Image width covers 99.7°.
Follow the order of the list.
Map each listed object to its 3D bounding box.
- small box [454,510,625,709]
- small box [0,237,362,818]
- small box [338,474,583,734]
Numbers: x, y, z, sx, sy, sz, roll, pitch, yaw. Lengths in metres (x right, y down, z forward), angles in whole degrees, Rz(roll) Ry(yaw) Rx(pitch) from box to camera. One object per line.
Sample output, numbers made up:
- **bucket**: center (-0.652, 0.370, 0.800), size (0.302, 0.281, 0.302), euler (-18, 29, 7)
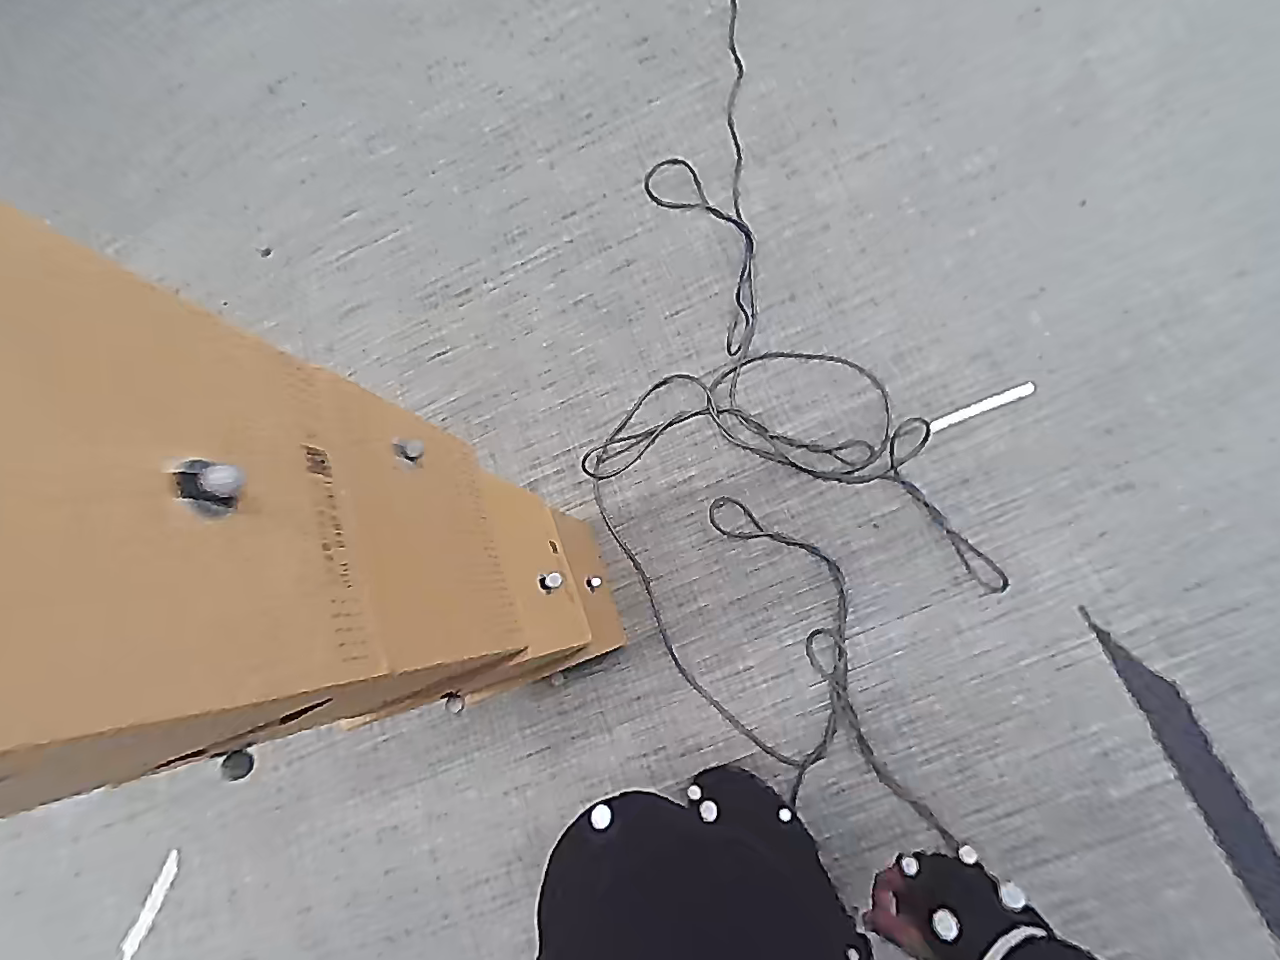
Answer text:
- **small box**: center (-0.134, 0.157, 0.671), size (0.168, 0.176, 0.179), euler (-23, 75, 6)
- **small box**: center (-0.235, 0.032, 0.205), size (0.179, 0.176, 0.168), euler (-22, 73, 7)
- **small box**: center (-0.167, 0.113, 0.518), size (0.179, 0.176, 0.168), euler (-23, 74, 7)
